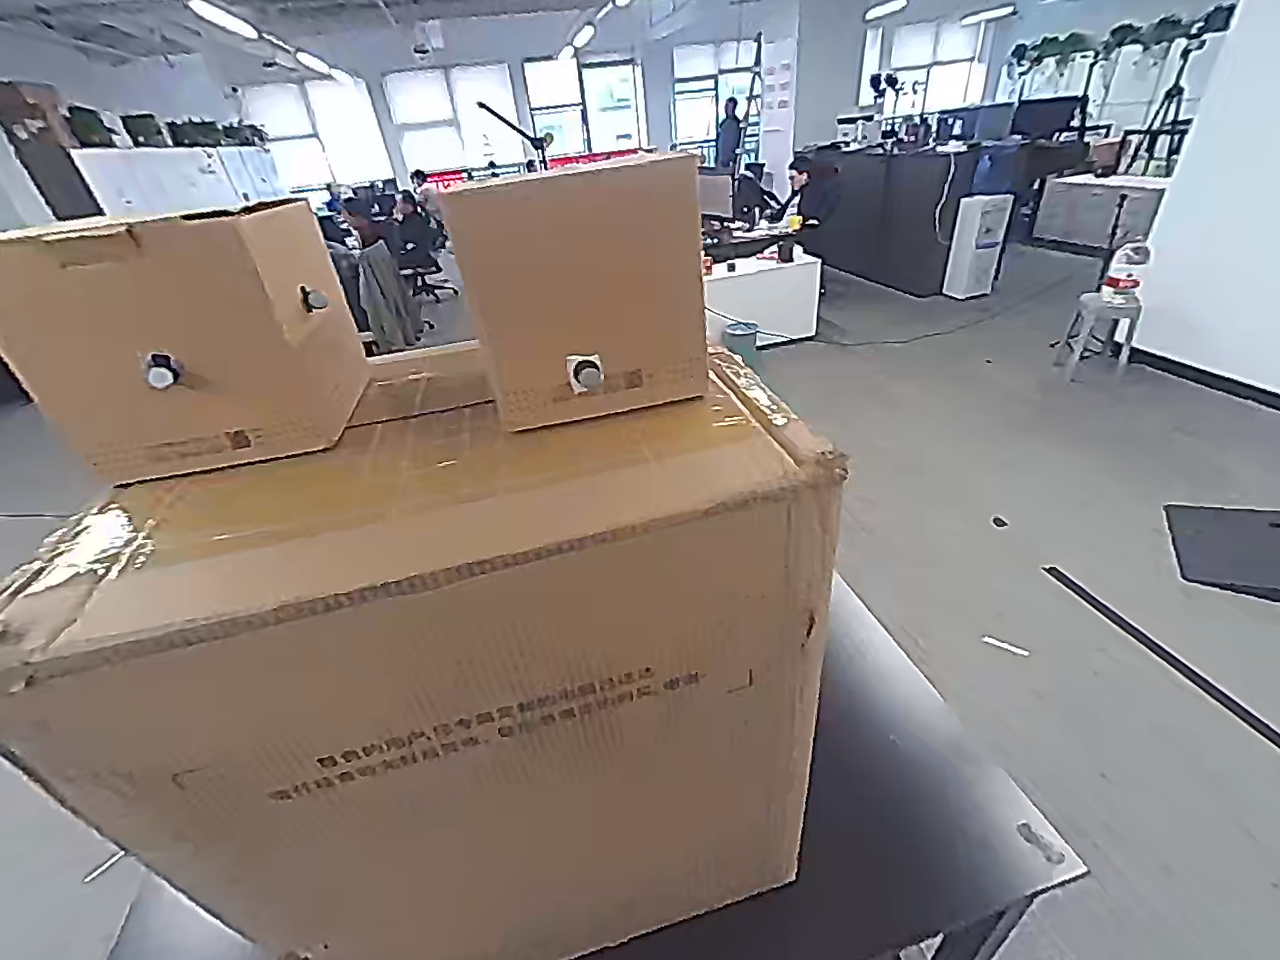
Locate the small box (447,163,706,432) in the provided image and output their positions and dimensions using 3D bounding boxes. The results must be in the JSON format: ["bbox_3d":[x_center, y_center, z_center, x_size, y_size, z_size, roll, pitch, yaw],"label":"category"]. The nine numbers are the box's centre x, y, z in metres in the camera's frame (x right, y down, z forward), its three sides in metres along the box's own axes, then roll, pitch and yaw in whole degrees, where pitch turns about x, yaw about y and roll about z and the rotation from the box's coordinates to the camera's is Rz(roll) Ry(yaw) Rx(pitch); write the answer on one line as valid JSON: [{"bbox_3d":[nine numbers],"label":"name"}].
[{"bbox_3d":[-0.049,-0.160,0.458,0.168,0.176,0.179,-13,33,-7],"label":"small box"}]

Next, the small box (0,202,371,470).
[{"bbox_3d":[-0.343,-0.119,0.445,0.168,0.176,0.179,-11,33,-10],"label":"small box"}]
